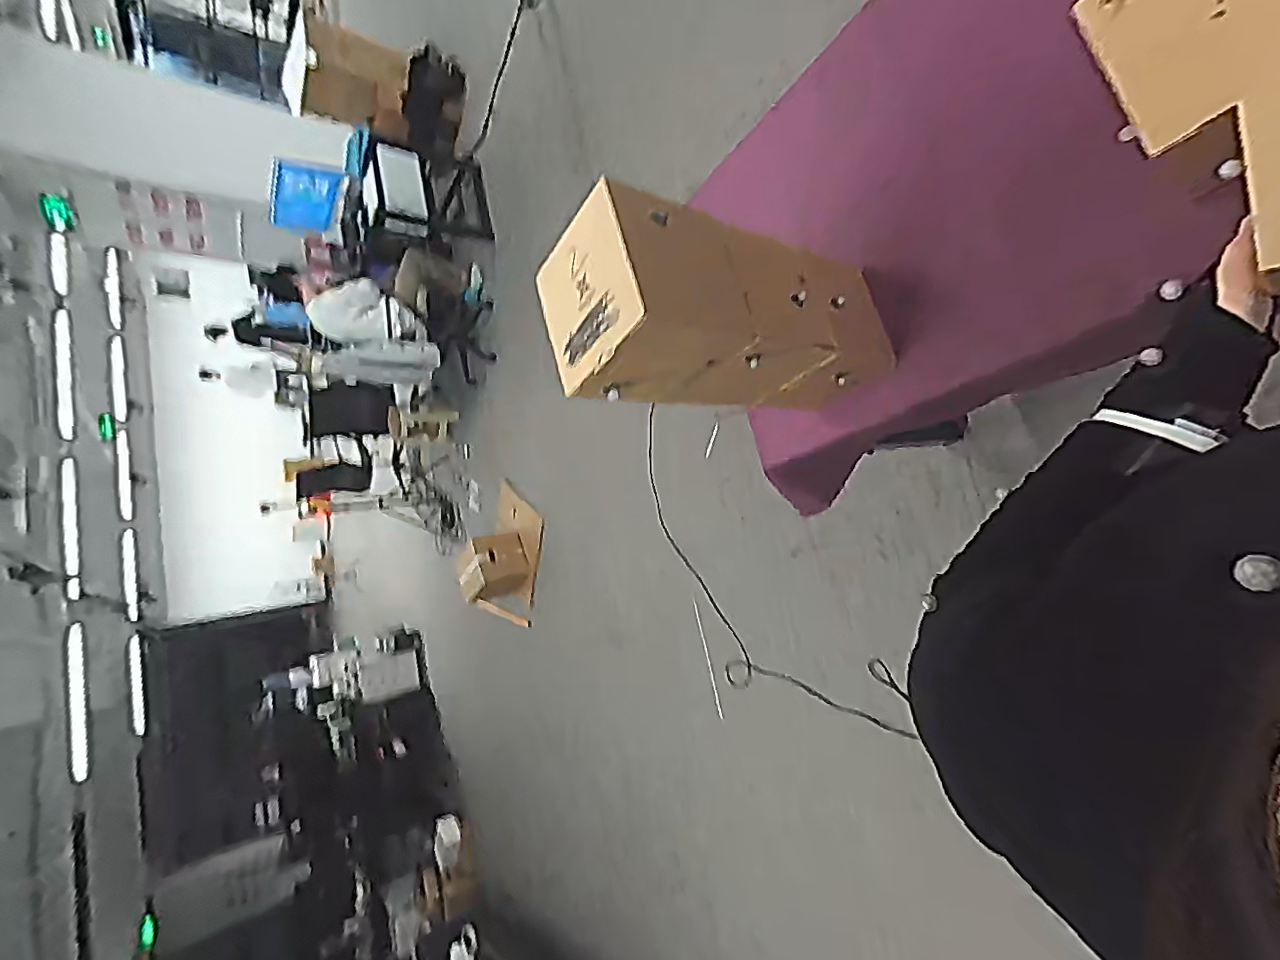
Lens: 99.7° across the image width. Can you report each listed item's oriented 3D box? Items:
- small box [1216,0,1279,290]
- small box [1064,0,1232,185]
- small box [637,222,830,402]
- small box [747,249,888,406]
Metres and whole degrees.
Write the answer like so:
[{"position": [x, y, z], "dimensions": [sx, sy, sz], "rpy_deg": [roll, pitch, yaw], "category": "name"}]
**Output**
[{"position": [0.447, -0.212, 0.283], "dimensions": [0.179, 0.176, 0.168], "rpy_deg": [-6, 90, 52], "category": "small box"}, {"position": [0.532, -0.398, 0.485], "dimensions": [0.168, 0.176, 0.179], "rpy_deg": [-28, 73, 50], "category": "small box"}, {"position": [0.128, -0.217, 0.757], "dimensions": [0.179, 0.176, 0.168], "rpy_deg": [-32, 69, 47], "category": "small box"}, {"position": [0.258, -0.229, 0.854], "dimensions": [0.168, 0.176, 0.179], "rpy_deg": [-30, 70, 48], "category": "small box"}]
